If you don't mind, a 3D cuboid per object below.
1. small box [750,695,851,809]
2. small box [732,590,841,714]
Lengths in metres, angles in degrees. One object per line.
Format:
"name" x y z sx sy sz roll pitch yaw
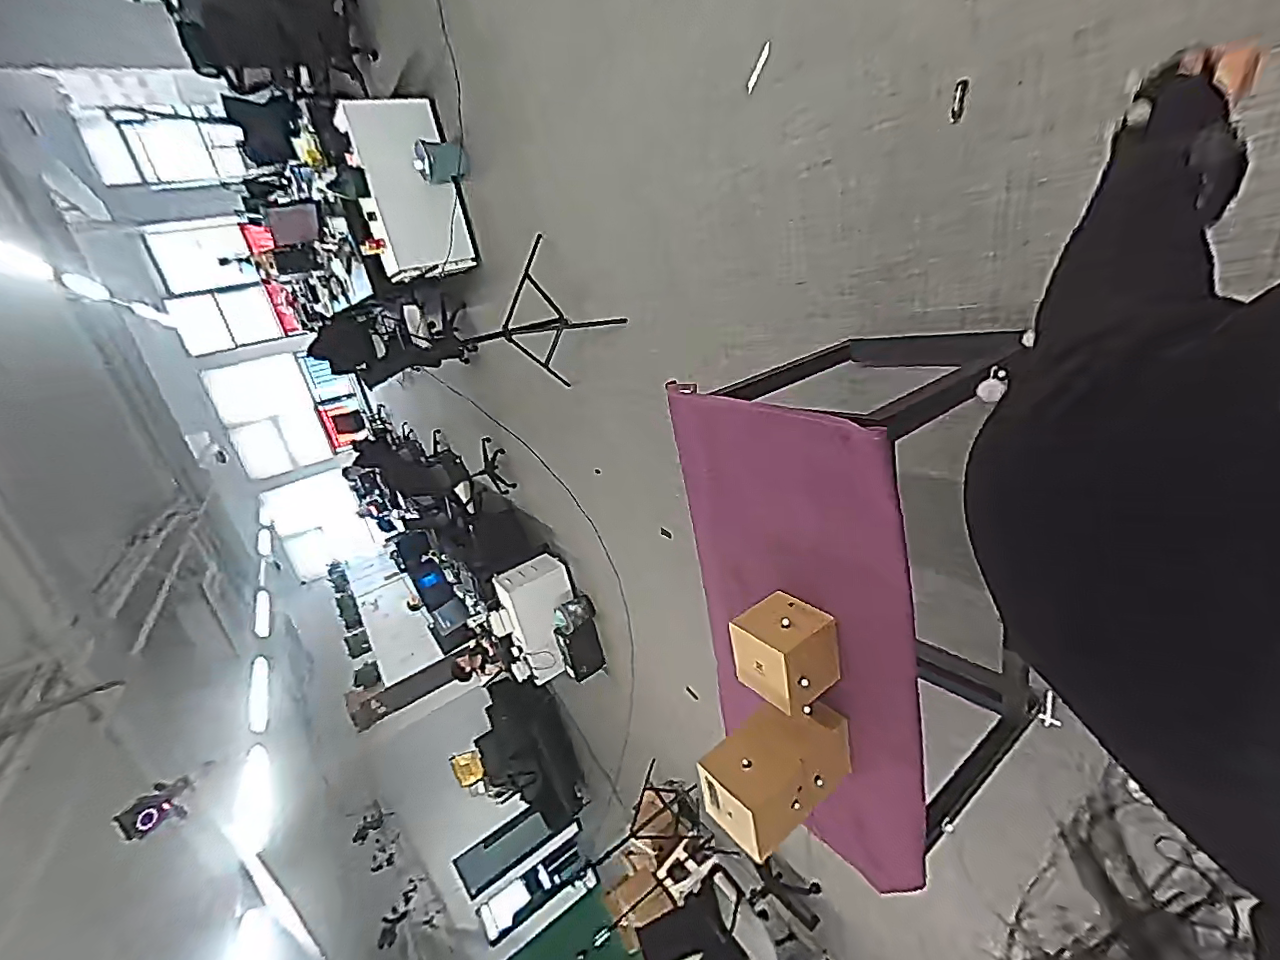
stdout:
"small box" 0.396 0.643 1.323 0.168 0.176 0.179 18 126 54
"small box" 0.335 0.380 1.231 0.168 0.176 0.179 20 128 54
